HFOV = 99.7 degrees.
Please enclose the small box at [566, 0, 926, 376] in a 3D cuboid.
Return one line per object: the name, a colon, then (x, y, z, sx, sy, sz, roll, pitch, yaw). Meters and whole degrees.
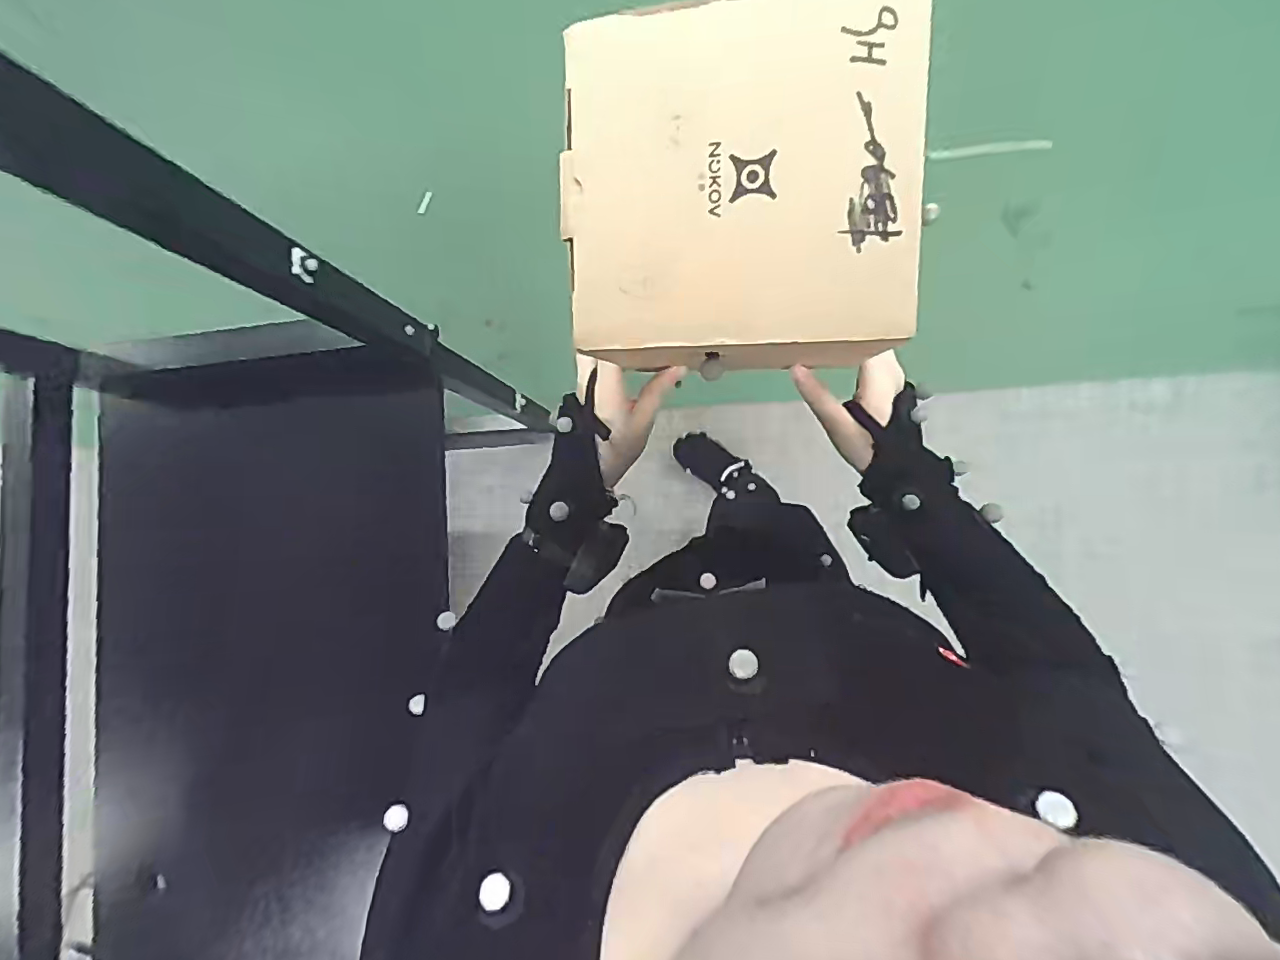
small box: (0.063, -0.157, 0.352, 0.179, 0.176, 0.168, 2, 97, 12)
